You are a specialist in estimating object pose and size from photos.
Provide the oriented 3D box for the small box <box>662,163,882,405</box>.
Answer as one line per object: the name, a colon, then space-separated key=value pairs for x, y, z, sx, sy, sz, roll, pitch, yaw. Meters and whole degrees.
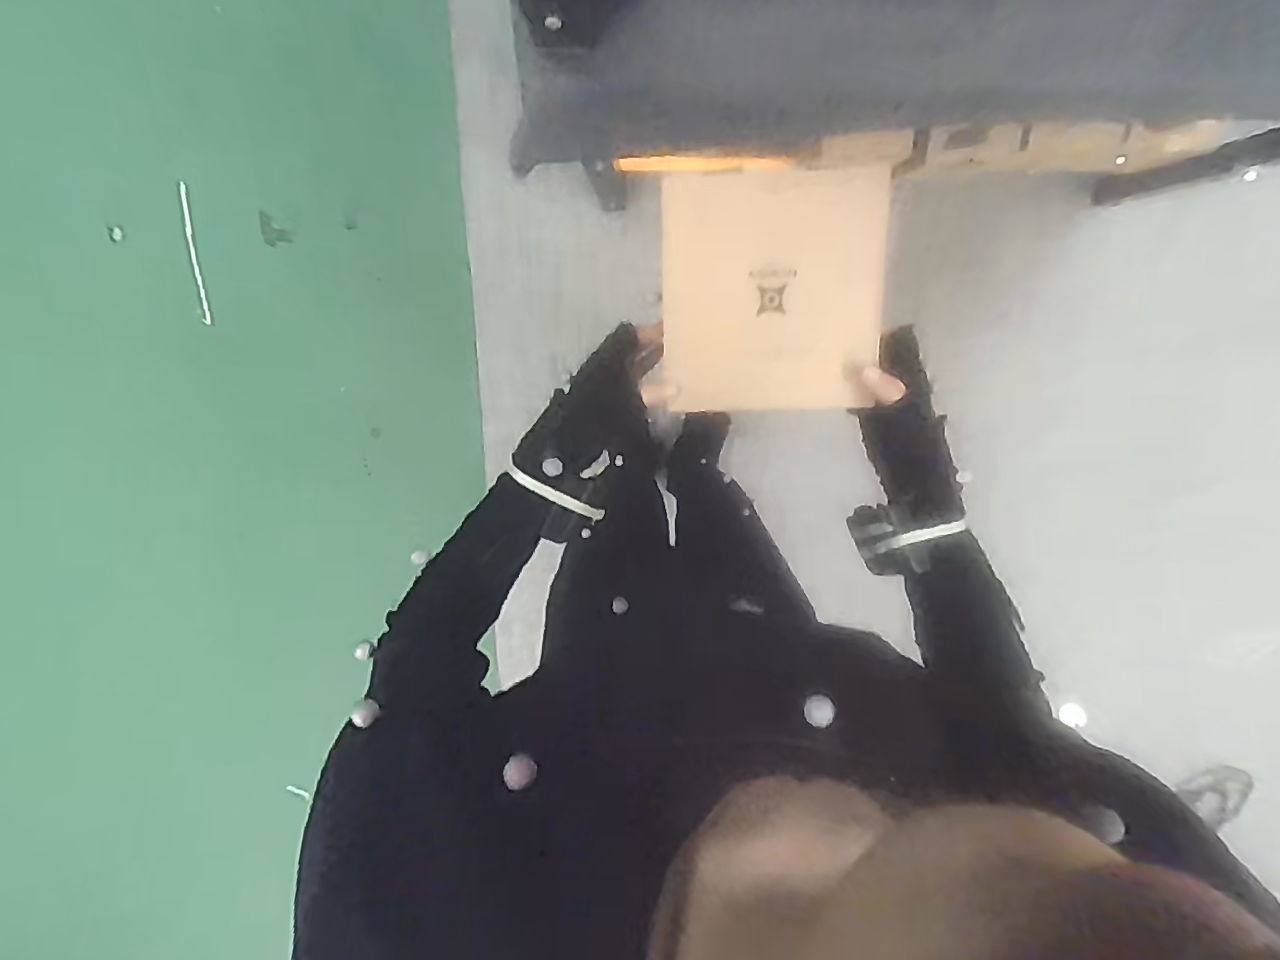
small box: x=0.104 y=-0.161 z=0.494 sx=0.168 sy=0.176 sz=0.179 roll=-1 pitch=101 yaw=4
